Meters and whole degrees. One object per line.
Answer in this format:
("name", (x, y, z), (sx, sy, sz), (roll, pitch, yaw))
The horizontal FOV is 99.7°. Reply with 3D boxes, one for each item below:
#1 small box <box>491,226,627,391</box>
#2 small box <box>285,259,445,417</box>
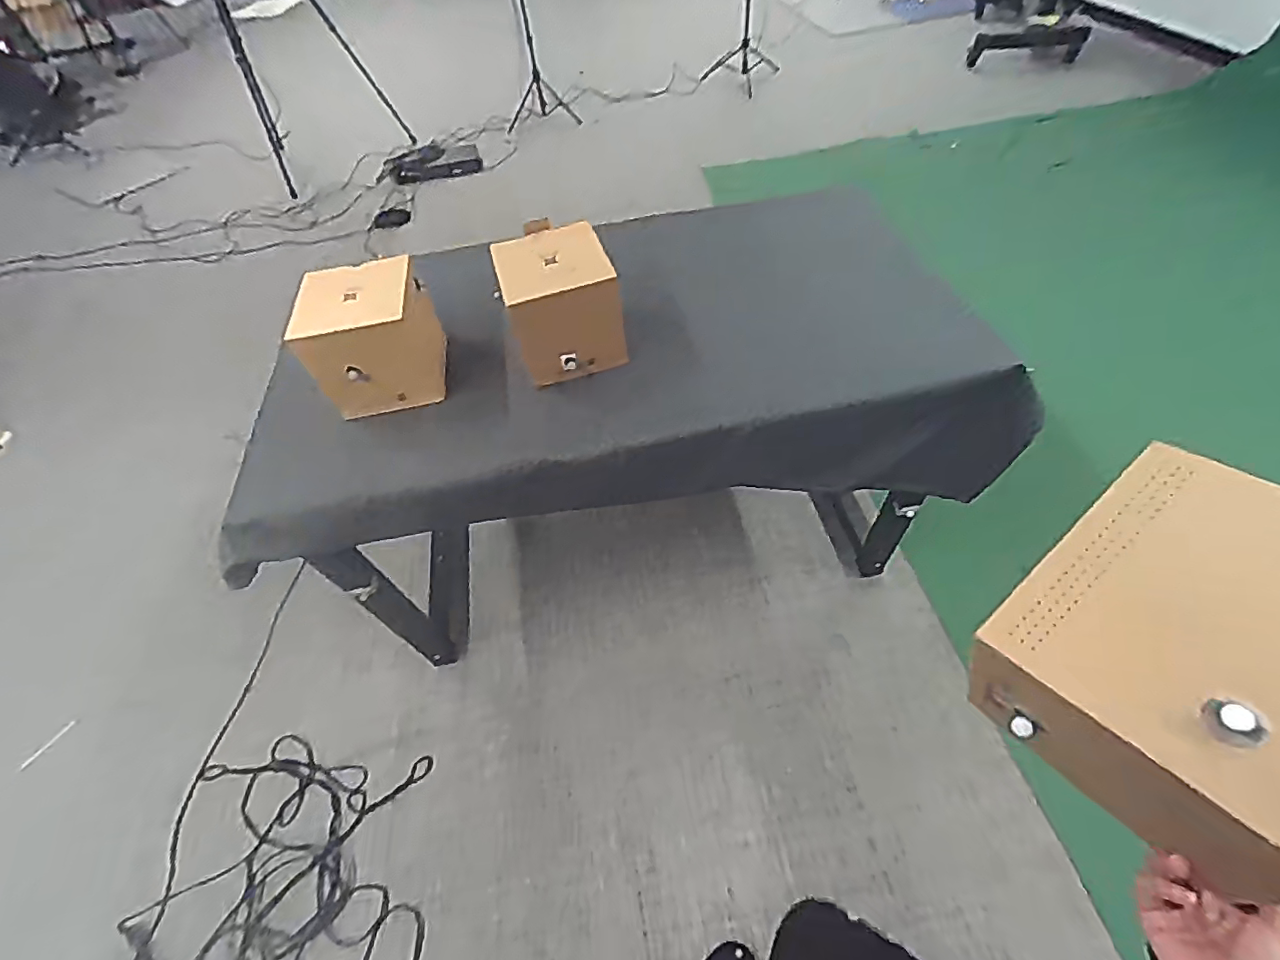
("small box", (-0.128, -0.276, 0.879), (0.168, 0.176, 0.179), (-18, 54, -7))
("small box", (-0.422, -0.219, 0.863), (0.168, 0.176, 0.179), (-12, 52, -4))
